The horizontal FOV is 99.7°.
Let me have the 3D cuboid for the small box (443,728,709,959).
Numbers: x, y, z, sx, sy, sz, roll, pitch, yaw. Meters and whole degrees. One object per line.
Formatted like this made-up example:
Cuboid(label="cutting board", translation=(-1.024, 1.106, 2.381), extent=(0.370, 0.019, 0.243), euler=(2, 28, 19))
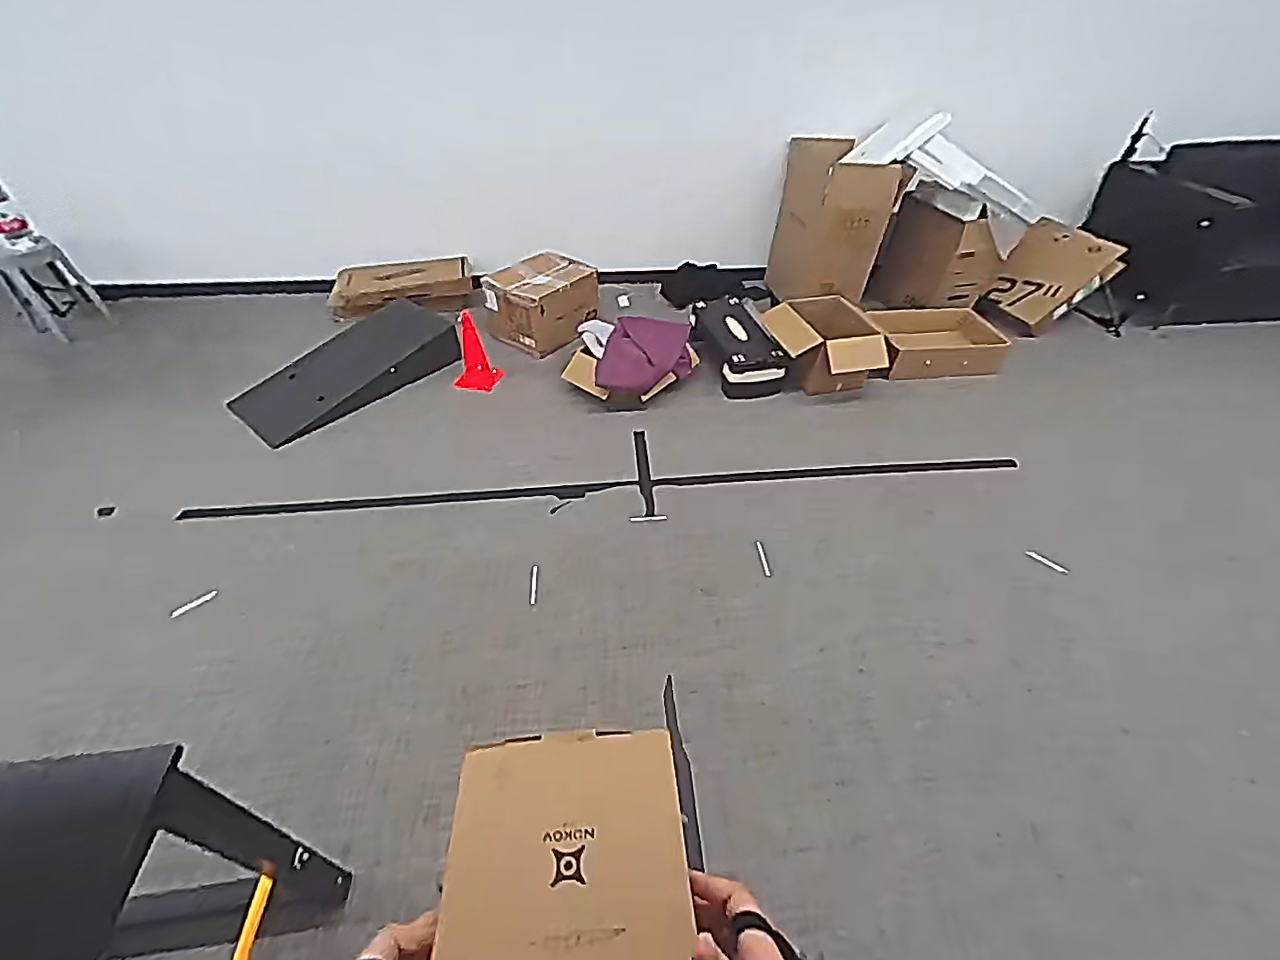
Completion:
Cuboid(label="small box", translation=(-0.047, 0.324, 0.422), extent=(0.168, 0.176, 0.179), euler=(-3, 39, -6))
